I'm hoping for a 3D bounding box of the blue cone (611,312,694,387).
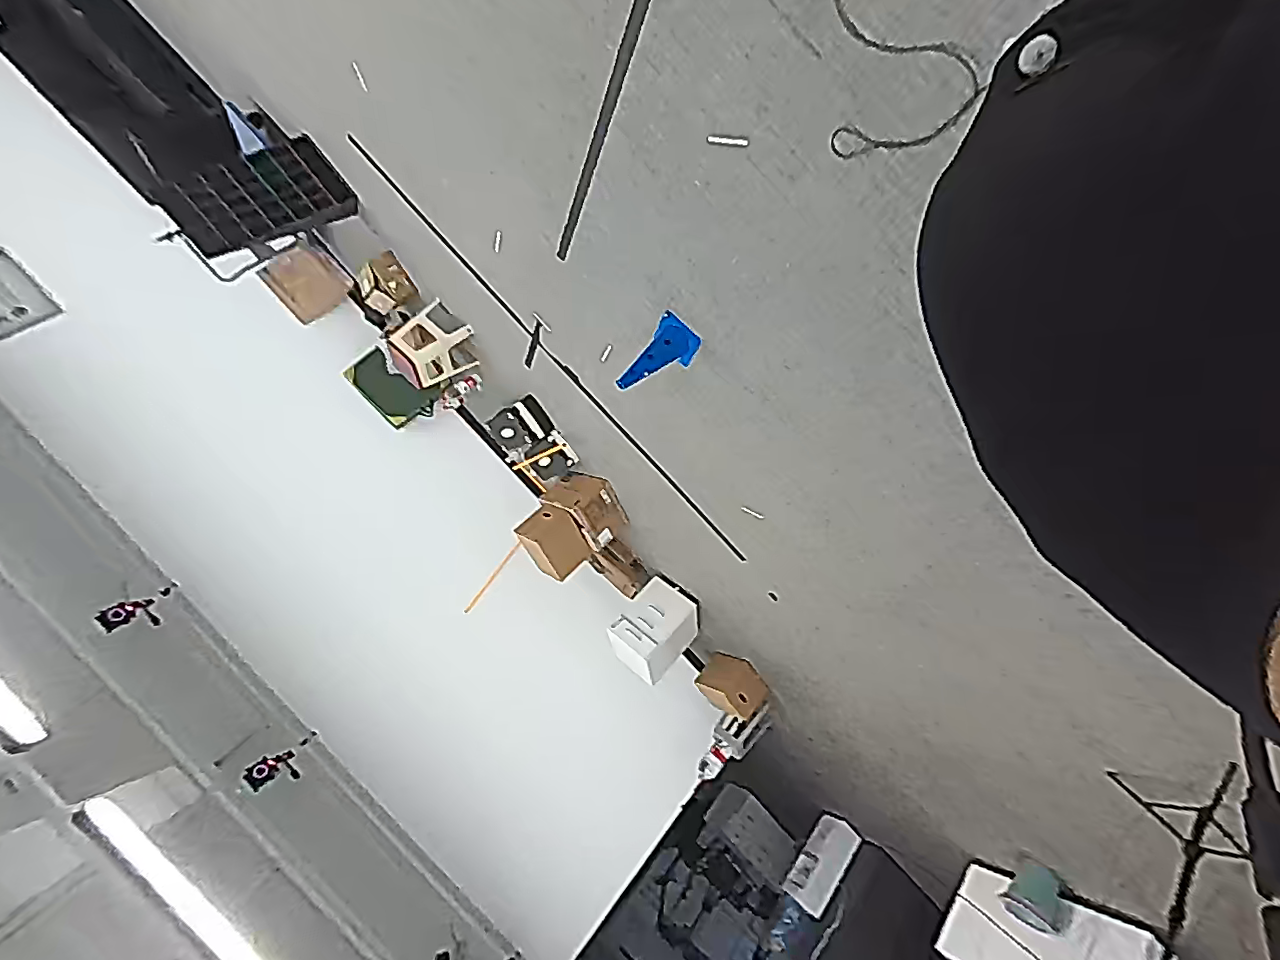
[{"bbox_3d":[0.030,-0.490,2.201,0.192,0.380,0.193,45,155,4],"label":"blue cone"}]
